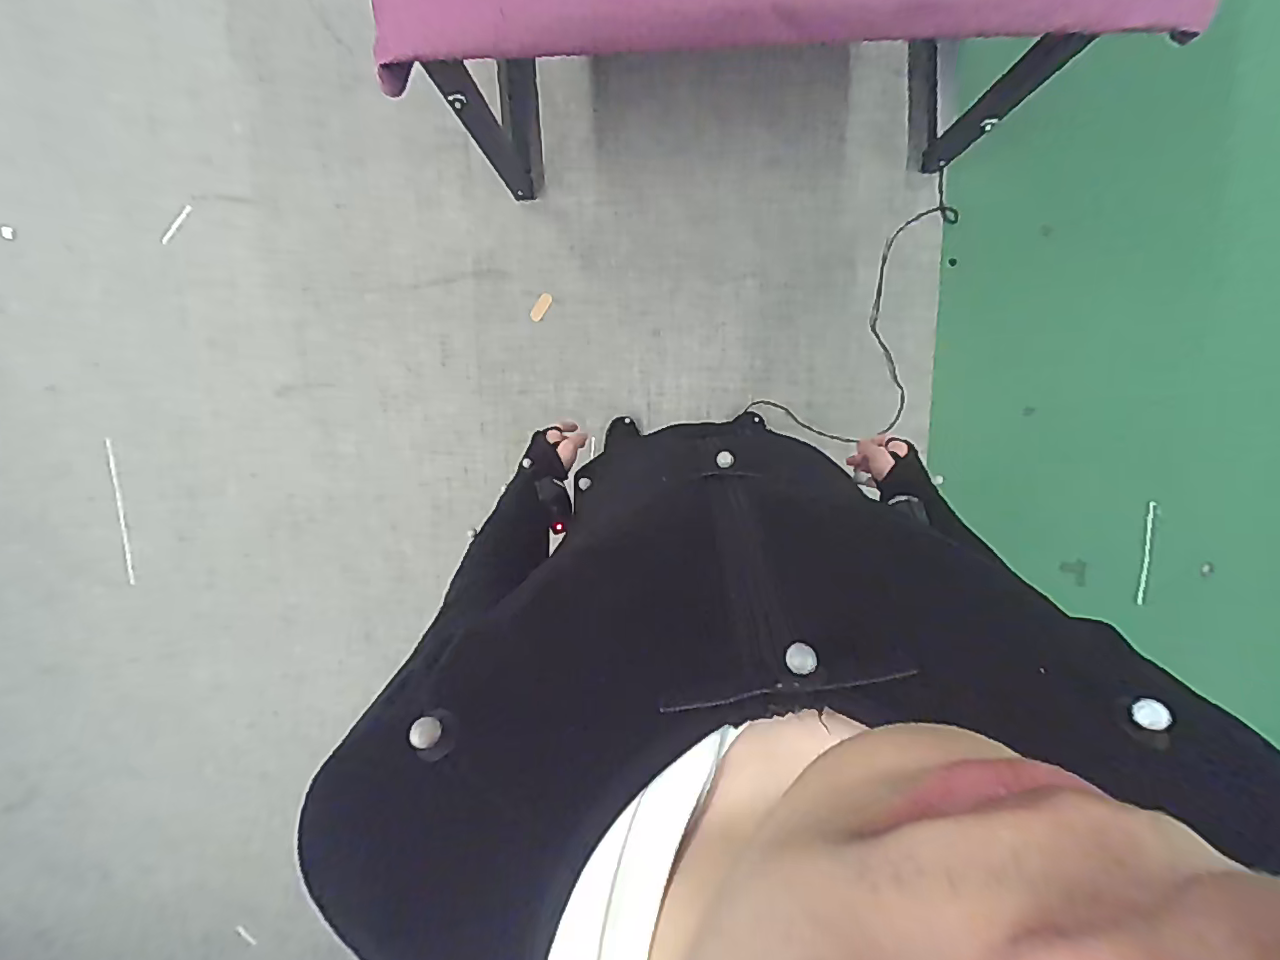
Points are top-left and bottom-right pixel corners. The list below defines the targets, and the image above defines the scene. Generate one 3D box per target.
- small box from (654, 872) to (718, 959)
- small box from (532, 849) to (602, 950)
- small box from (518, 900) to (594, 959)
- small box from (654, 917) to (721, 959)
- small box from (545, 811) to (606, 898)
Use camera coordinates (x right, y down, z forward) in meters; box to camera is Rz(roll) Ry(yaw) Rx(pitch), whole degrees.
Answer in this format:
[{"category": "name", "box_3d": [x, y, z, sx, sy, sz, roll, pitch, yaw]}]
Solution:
[{"category": "small box", "box_3d": [0.142, 1.397, 1.725, 0.179, 0.176, 0.168, 8, 98, 1]}, {"category": "small box", "box_3d": [-0.204, 1.195, 1.549, 0.179, 0.176, 0.168, -1, 97, 1]}, {"category": "small box", "box_3d": [-0.210, 1.221, 1.386, 0.179, 0.176, 0.168, 0, 97, 1]}, {"category": "small box", "box_3d": [0.134, 1.413, 1.560, 0.179, 0.176, 0.168, 7, 99, 1]}, {"category": "small box", "box_3d": [-0.199, 1.181, 1.709, 0.179, 0.176, 0.168, 1, 97, 2]}]
